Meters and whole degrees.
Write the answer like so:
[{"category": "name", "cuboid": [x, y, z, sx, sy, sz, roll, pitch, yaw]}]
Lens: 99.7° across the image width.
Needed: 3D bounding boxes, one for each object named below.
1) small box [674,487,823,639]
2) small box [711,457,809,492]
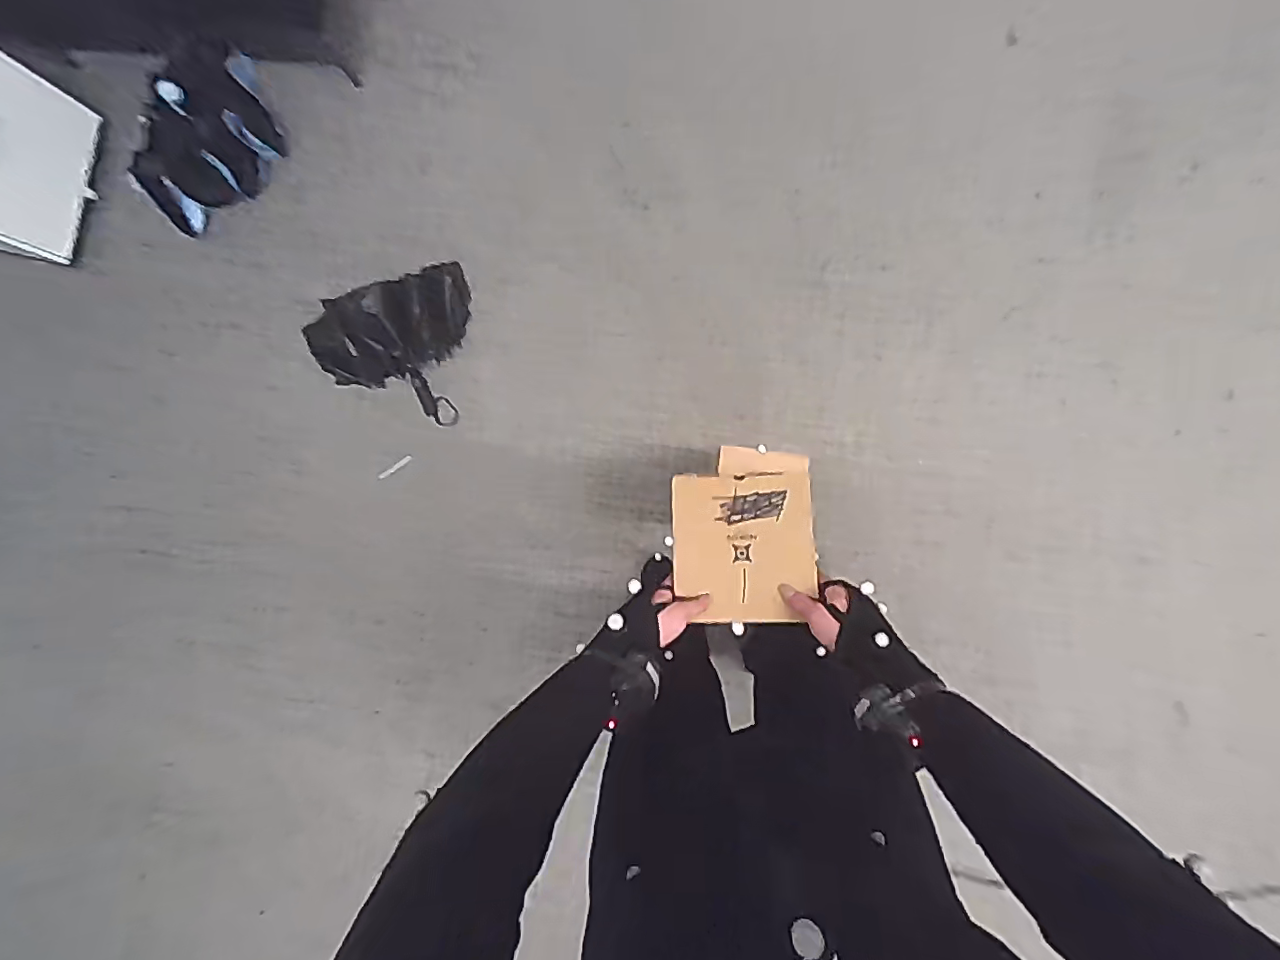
[{"category": "small box", "cuboid": [0.134, 0.116, 0.711, 0.168, 0.176, 0.179, -4, 75, 8]}, {"category": "small box", "cuboid": [0.227, 0.057, 1.086, 0.168, 0.176, 0.179, 8, 88, 3]}]
